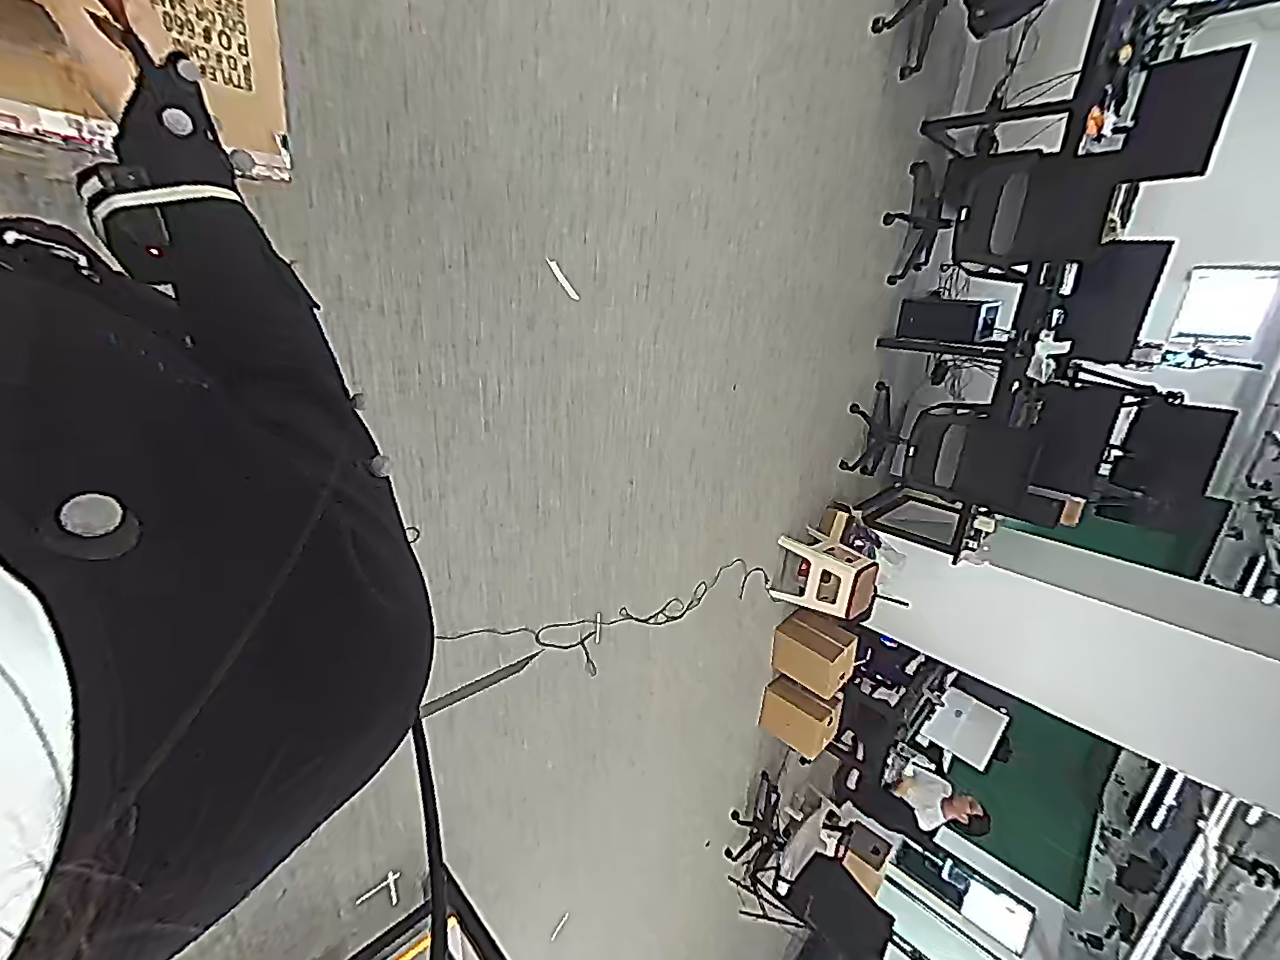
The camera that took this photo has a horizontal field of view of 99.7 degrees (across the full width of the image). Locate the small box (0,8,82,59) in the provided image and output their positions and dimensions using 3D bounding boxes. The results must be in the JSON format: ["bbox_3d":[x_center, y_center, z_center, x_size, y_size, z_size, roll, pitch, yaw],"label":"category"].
[{"bbox_3d":[-0.587,-0.474,0.433,0.179,0.176,0.168,-12,117,-45],"label":"small box"}]

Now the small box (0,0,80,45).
[{"bbox_3d":[-0.478,-0.407,0.331,0.179,0.176,0.168,-4,112,-46],"label":"small box"}]
